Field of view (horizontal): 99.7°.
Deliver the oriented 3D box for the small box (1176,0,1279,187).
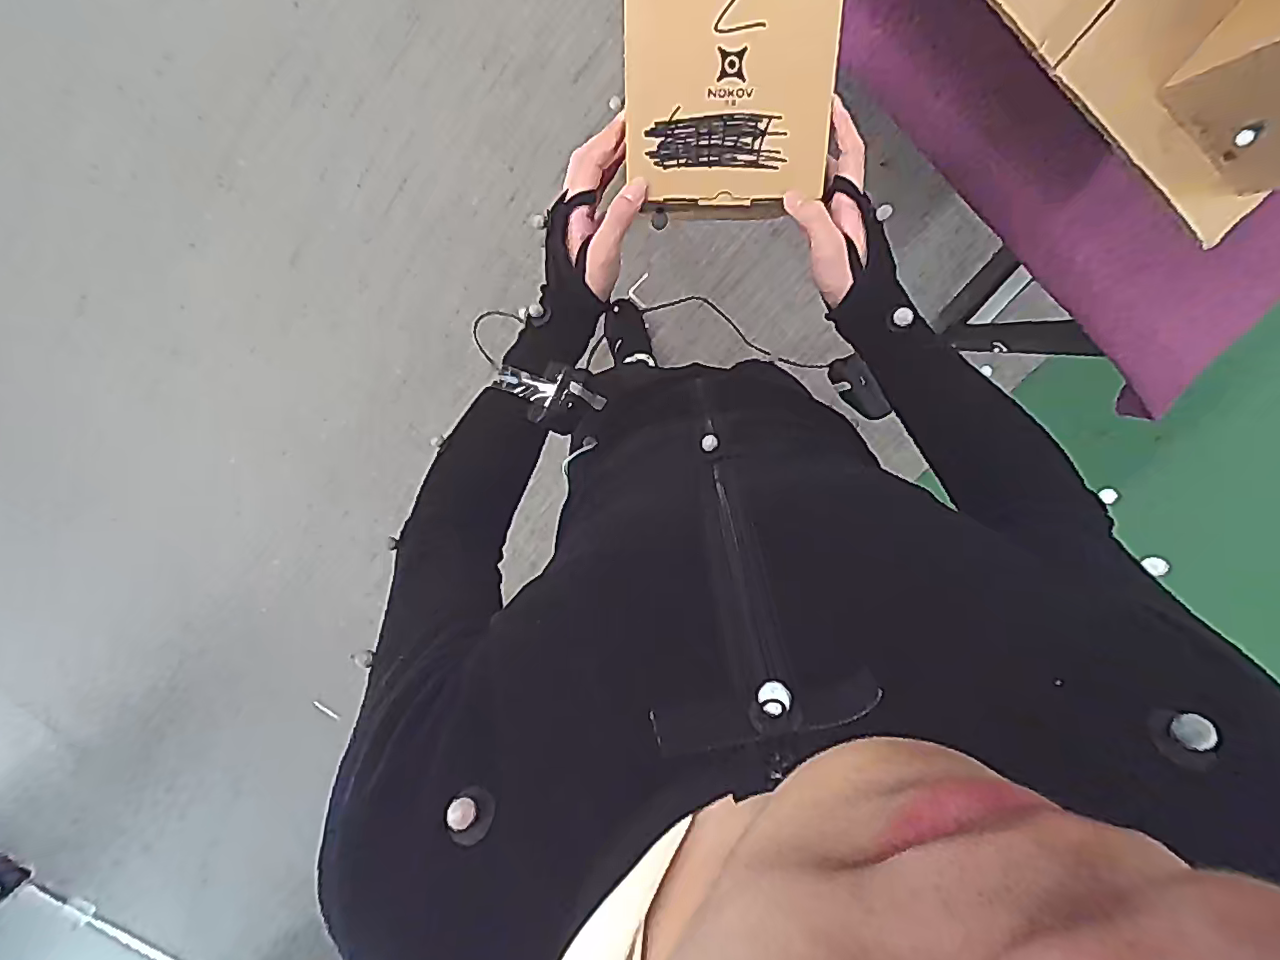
[{"bbox_3d":[0.681,-0.414,0.499,0.168,0.176,0.179,37,103,-10],"label":"small box"}]
